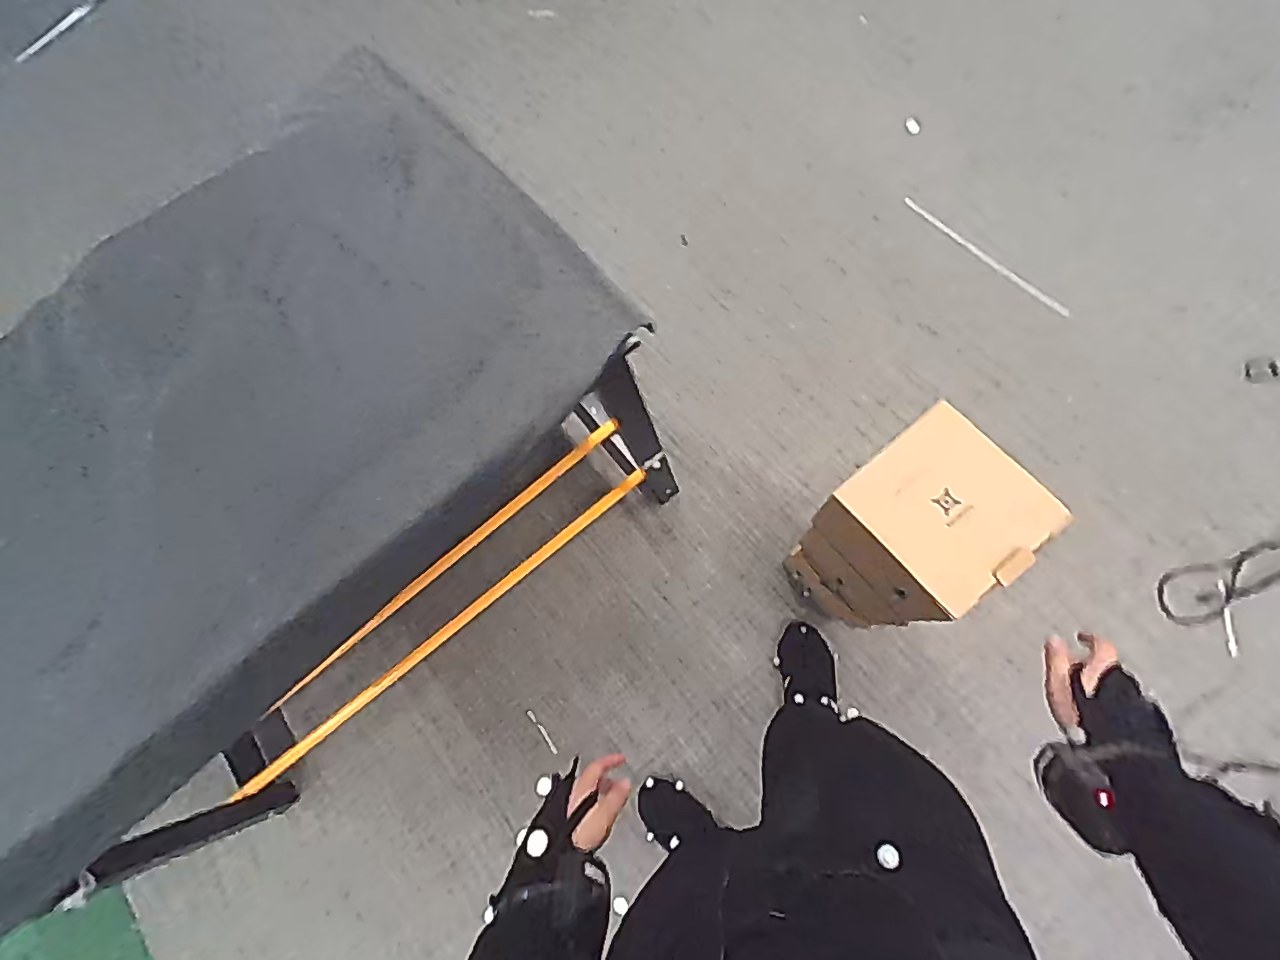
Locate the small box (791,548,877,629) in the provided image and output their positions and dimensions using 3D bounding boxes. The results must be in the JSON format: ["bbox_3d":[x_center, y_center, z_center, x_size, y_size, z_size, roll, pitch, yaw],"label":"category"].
[{"bbox_3d":[0.386,0.147,0.956,0.179,0.176,0.168,-40,73,-4],"label":"small box"}]

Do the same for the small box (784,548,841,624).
[{"bbox_3d":[0.417,0.179,1.114,0.179,0.176,0.168,-38,72,-3],"label":"small box"}]

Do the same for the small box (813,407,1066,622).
[{"bbox_3d":[0.335,0.050,0.649,0.168,0.176,0.179,-40,72,-4],"label":"small box"}]

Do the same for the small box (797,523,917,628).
[{"bbox_3d":[0.360,0.097,0.801,0.168,0.176,0.179,-39,74,-4],"label":"small box"}]
